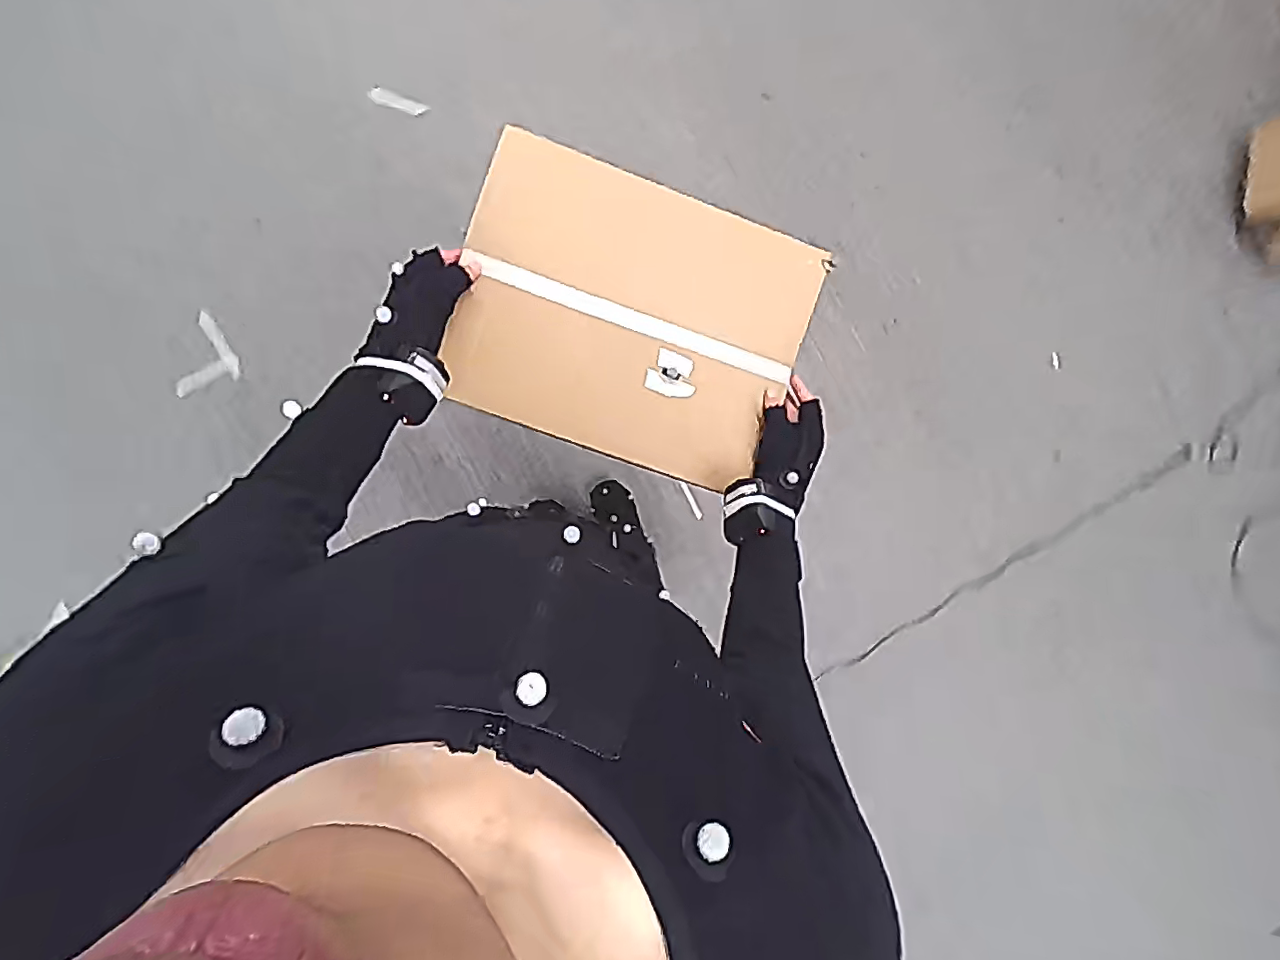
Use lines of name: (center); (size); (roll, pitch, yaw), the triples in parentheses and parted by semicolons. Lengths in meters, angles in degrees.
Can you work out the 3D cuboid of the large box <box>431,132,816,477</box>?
large box: (-0.030, -0.209, 0.790); (0.408, 0.320, 0.320); (17, 92, -7)
